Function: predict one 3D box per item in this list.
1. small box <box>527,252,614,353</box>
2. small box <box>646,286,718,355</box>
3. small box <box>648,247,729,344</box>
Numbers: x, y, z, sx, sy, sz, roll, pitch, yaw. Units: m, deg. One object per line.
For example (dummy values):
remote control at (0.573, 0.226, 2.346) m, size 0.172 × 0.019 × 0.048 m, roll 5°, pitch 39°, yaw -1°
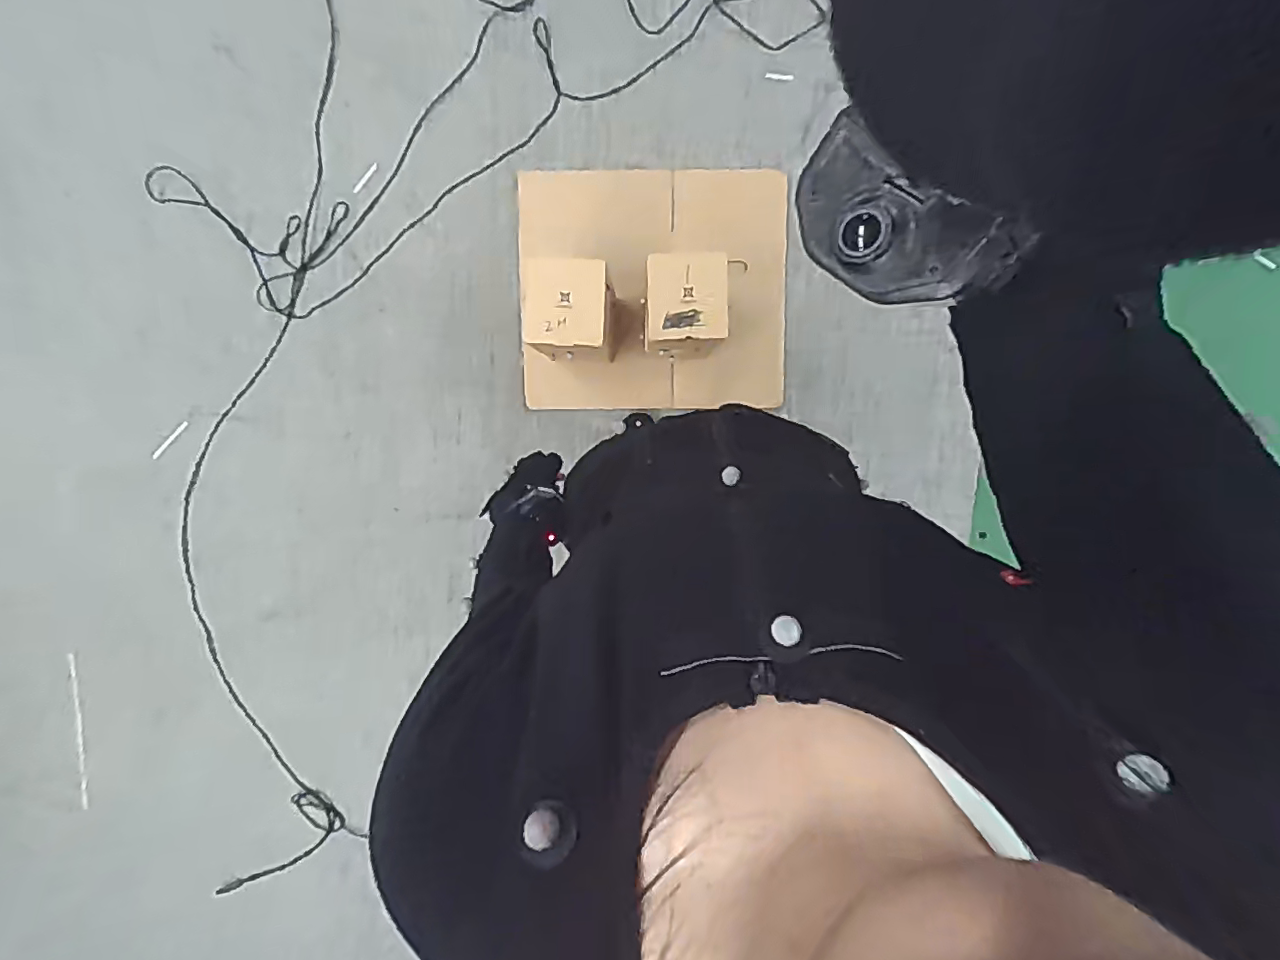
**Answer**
small box at (-0.147, -0.380, 1.180) m, size 0.168 × 0.176 × 0.179 m, roll 3°, pitch 97°, yaw 1°
small box at (0.100, -0.409, 1.343) m, size 0.168 × 0.176 × 0.179 m, roll -1°, pitch 97°, yaw 0°
small box at (0.102, -0.392, 1.179) m, size 0.168 × 0.176 × 0.179 m, roll -2°, pitch 96°, yaw 0°
